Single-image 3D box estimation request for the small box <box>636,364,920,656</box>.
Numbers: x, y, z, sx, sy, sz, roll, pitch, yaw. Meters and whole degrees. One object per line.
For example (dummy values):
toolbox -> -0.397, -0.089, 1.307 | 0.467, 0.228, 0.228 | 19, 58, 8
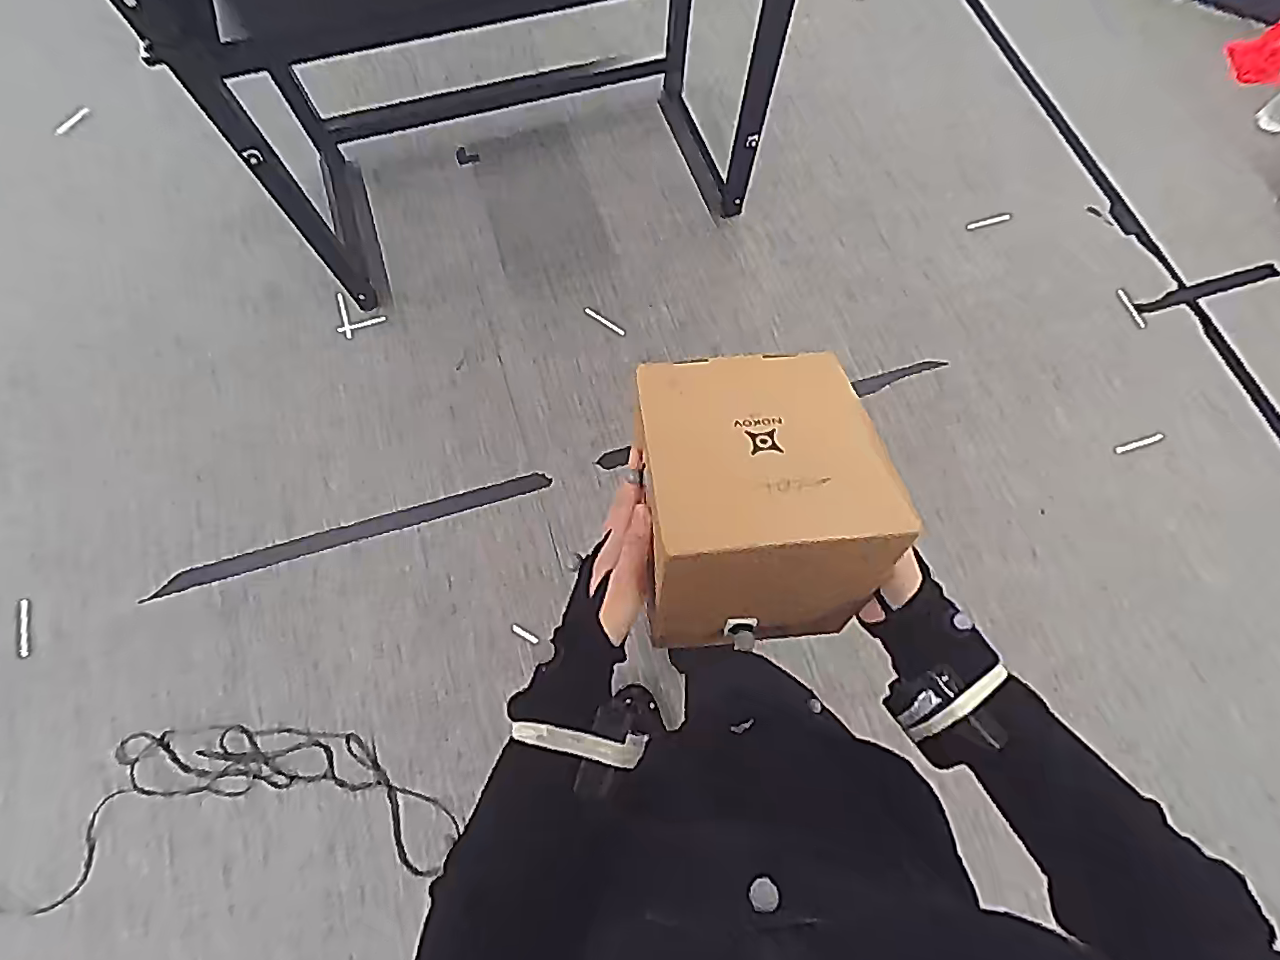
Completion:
small box -> 0.087, 0.027, 0.450 | 0.168, 0.176, 0.179 | -5, 53, -5
